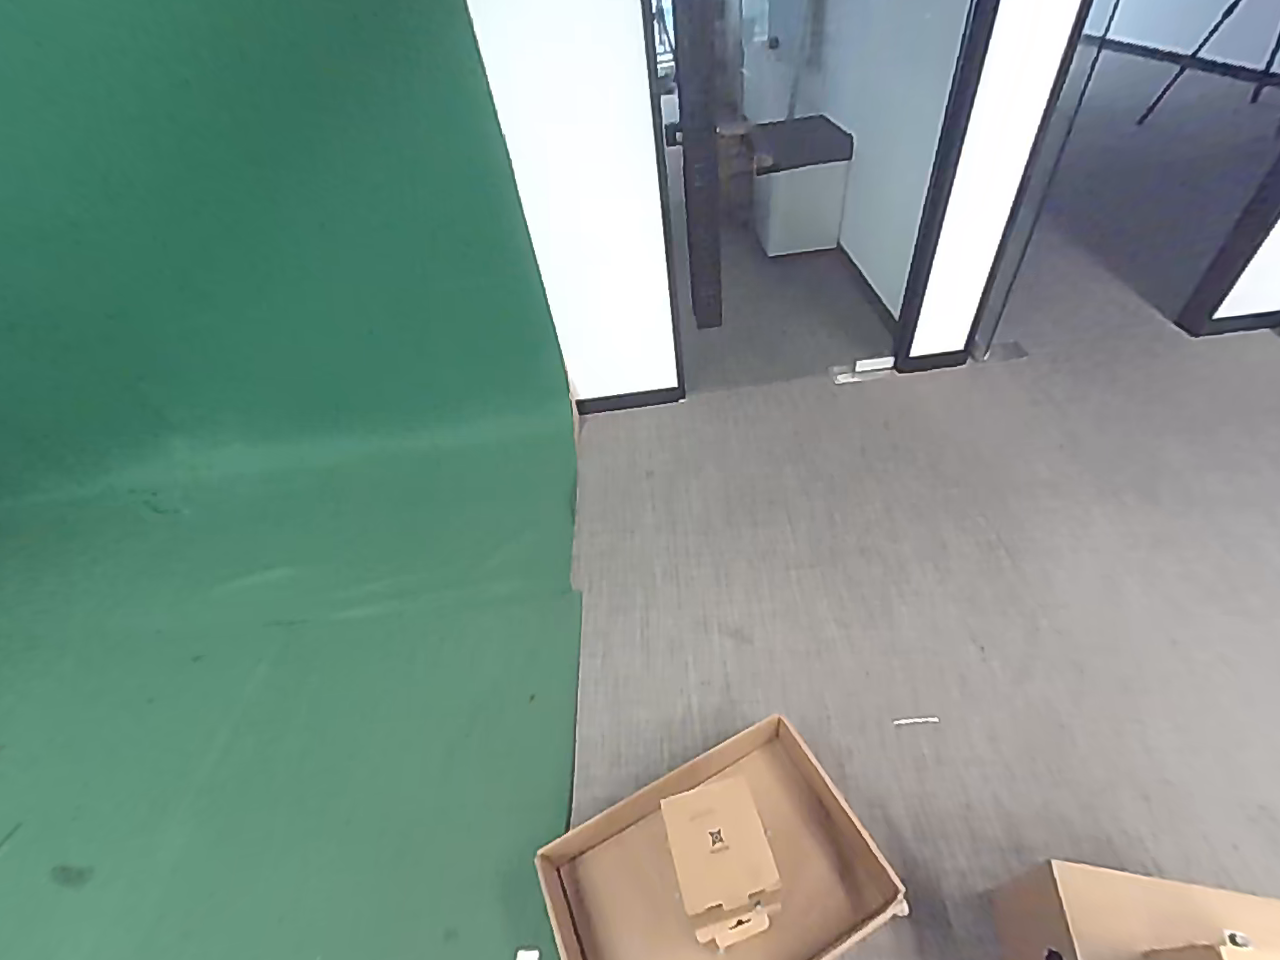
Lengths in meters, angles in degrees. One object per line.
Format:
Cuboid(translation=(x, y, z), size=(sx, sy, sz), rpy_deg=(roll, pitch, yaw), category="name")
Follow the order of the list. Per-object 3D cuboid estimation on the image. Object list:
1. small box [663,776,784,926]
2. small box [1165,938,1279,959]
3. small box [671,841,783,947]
Cuboid(translation=(0.151, 0.680, 0.985), size=(0.168, 0.176, 0.179), rpy_deg=(-16, 42, -4), category="small box")
Cuboid(translation=(0.829, 0.704, 0.685), size=(0.179, 0.176, 0.168), rpy_deg=(-2, 46, 10), category="small box")
Cuboid(translation=(0.176, 0.803, 1.087), size=(0.168, 0.176, 0.179), rpy_deg=(-19, 44, -6), category="small box")
